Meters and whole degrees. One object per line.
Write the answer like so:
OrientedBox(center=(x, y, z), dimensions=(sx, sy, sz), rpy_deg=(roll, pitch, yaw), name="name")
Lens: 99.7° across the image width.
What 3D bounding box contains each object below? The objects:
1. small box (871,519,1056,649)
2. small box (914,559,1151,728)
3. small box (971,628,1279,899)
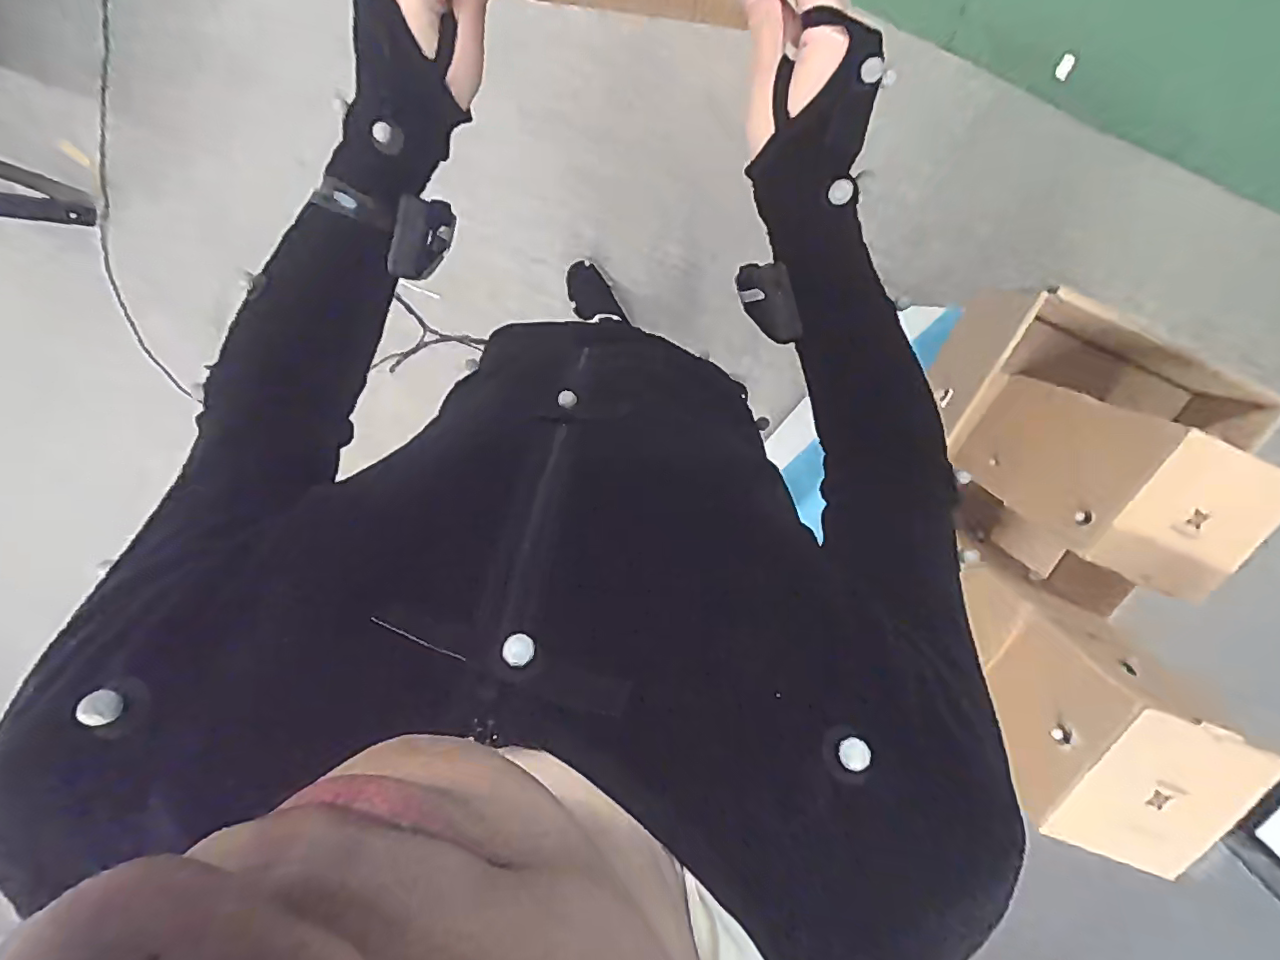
OrientedBox(center=(0.519, 0.188, 0.900), dimensions=(0.168, 0.176, 0.179), rpy_deg=(23, 107, -5), name="small box")
OrientedBox(center=(0.513, 0.240, 0.745), dimensions=(0.168, 0.176, 0.179), rpy_deg=(22, 106, -5), name="small box")
OrientedBox(center=(0.511, 0.294, 0.591), dimensions=(0.168, 0.176, 0.179), rpy_deg=(23, 108, -4), name="small box")
